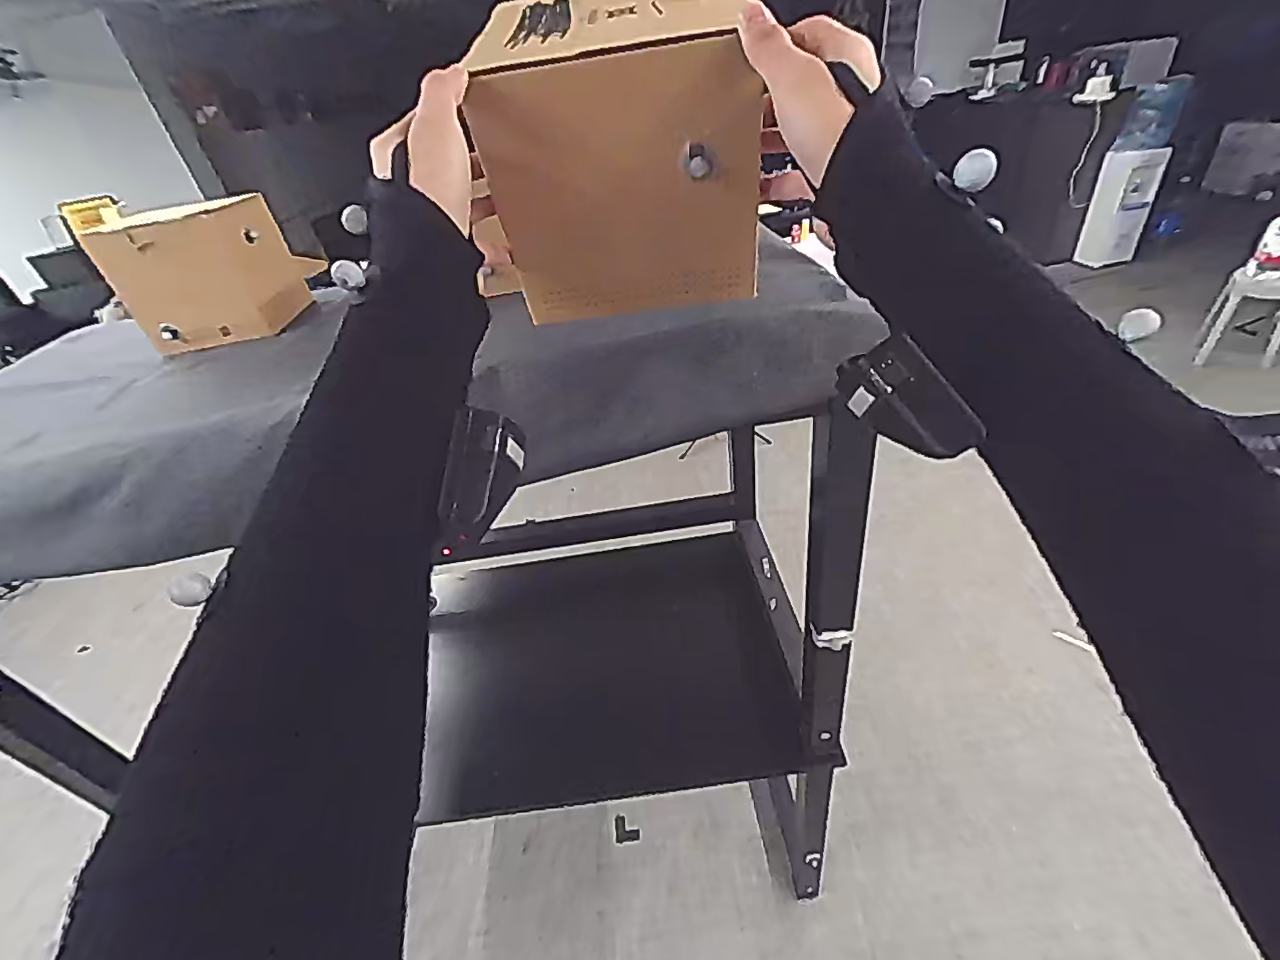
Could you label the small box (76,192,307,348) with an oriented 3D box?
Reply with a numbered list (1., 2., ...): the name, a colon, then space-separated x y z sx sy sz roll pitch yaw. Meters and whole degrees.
1. small box: -0.633 -0.306 0.797 0.168 0.176 0.179 -11 36 -2
